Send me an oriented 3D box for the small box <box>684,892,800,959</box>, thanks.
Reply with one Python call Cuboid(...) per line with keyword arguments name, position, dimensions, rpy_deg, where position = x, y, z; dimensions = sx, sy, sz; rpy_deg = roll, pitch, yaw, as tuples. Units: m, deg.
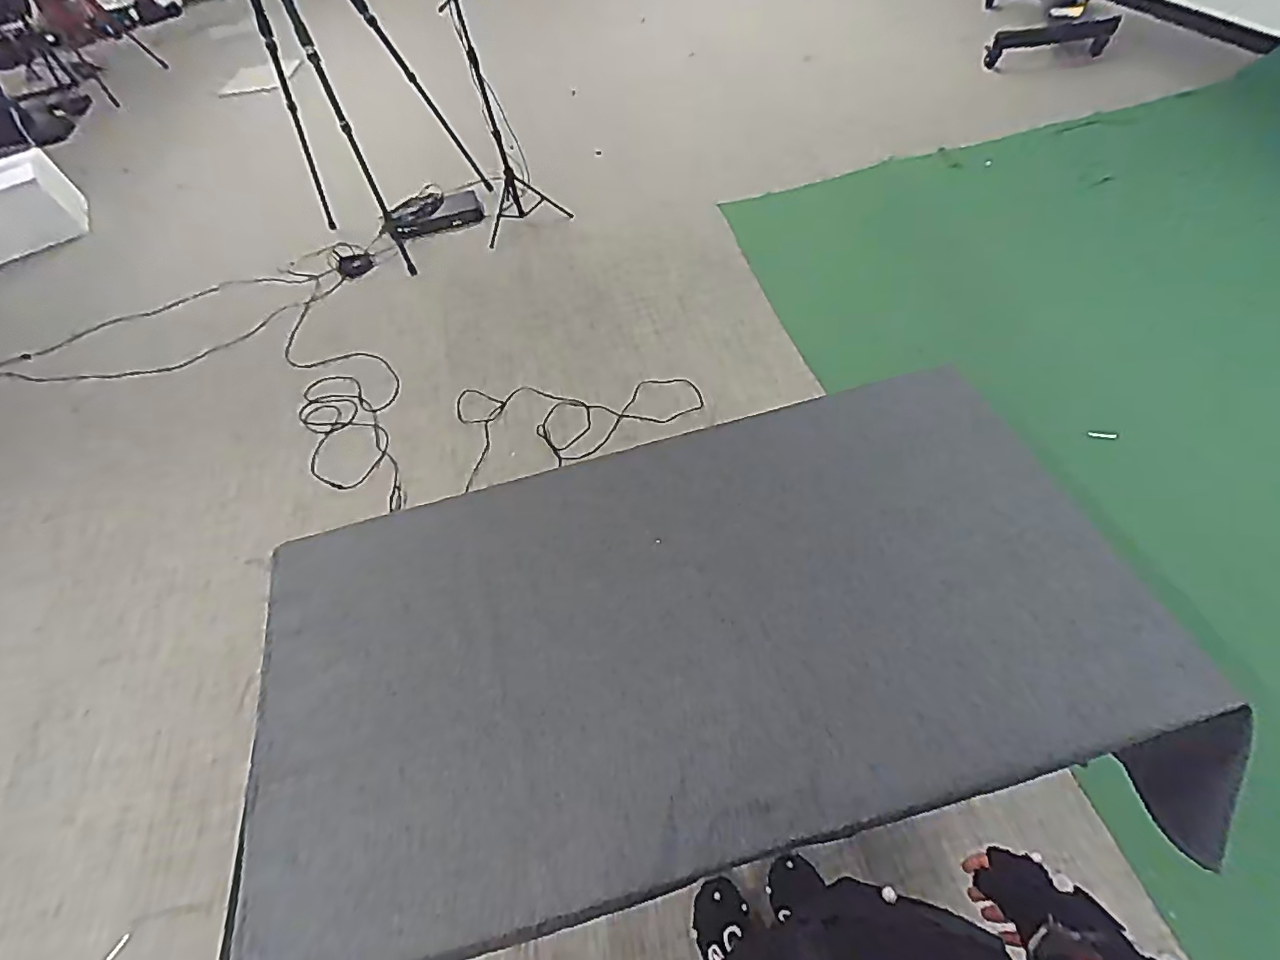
Cuboid(name="small box", position=(0.189, 0.935, 1.040), dimensions=(0.179, 0.176, 0.168), rpy_deg=(7, 67, 33))
